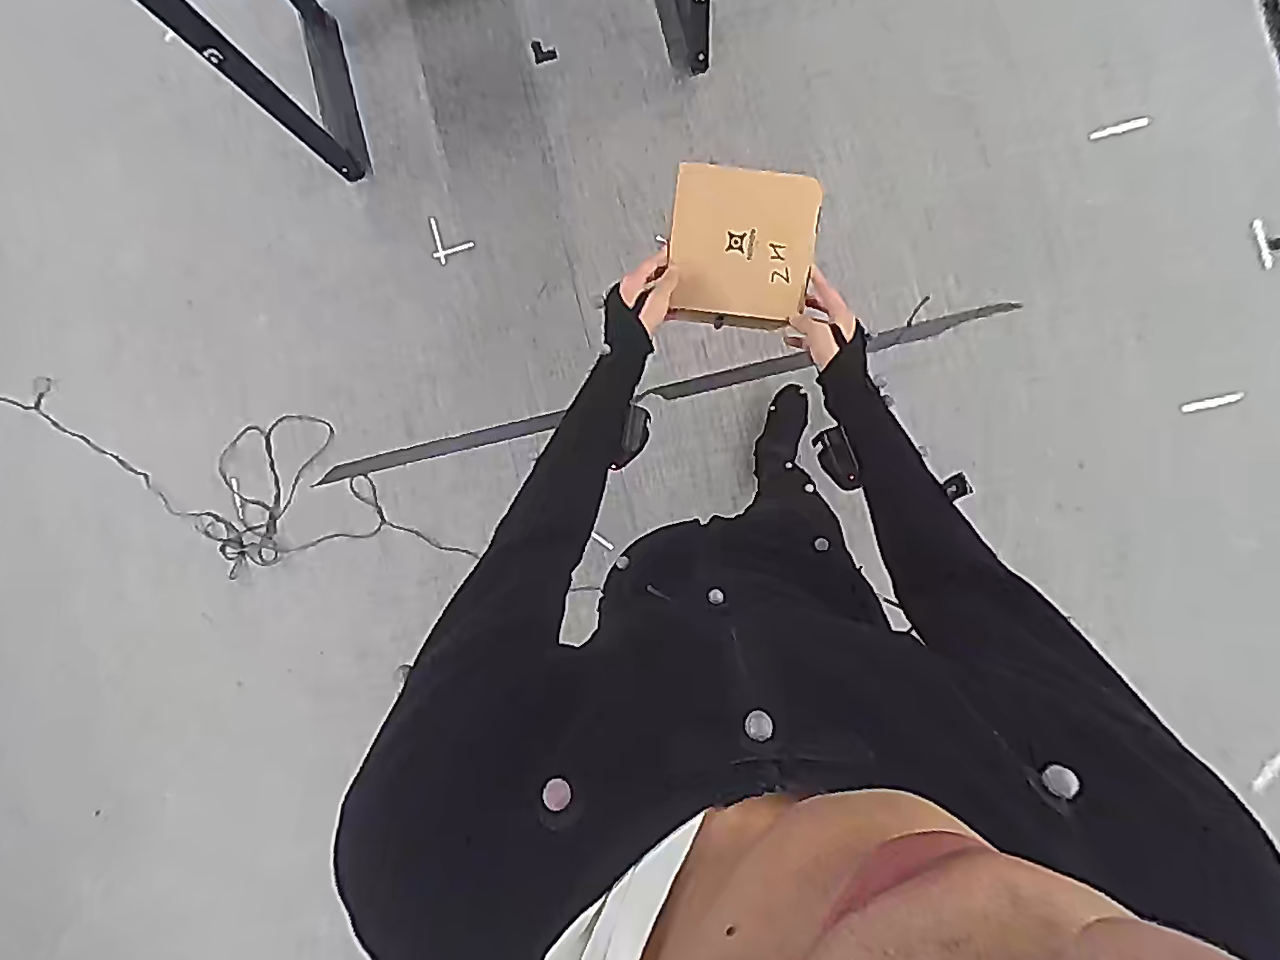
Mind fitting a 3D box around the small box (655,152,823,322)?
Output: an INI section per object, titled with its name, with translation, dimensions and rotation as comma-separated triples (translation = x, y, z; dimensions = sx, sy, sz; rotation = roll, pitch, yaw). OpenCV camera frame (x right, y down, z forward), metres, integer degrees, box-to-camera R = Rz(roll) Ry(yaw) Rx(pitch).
[small box]
translation = 0.115, -0.305, 0.713
dimensions = 0.179, 0.176, 0.168
rotation = 6, 103, -2
